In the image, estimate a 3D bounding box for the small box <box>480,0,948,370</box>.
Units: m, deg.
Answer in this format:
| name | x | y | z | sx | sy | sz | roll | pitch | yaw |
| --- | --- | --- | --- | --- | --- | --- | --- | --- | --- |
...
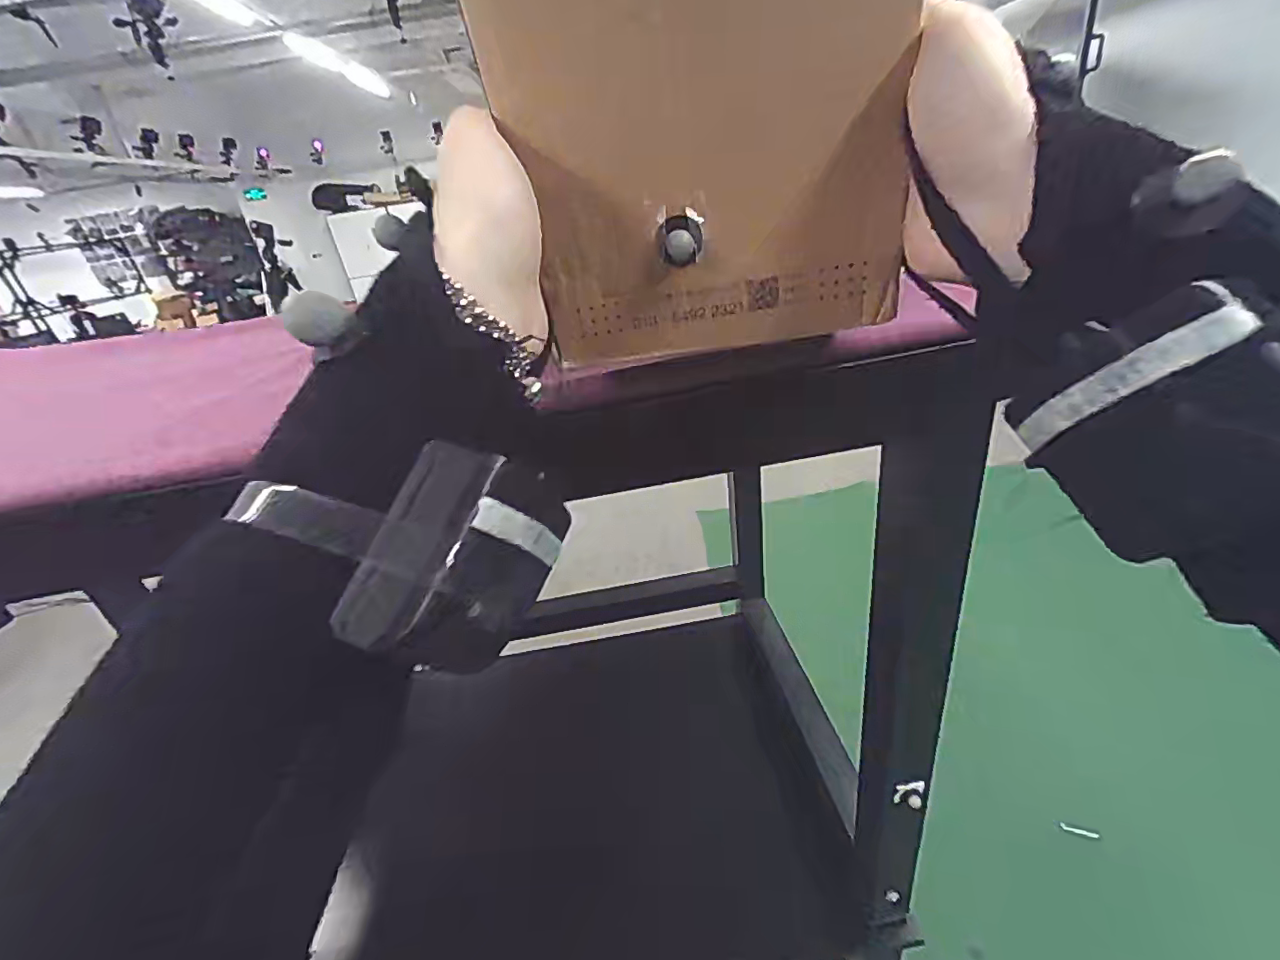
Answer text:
| name | x | y | z | sx | sy | sz | roll | pitch | yaw |
| --- | --- | --- | --- | --- | --- | --- | --- | --- | --- |
| small box | 0.035 | -0.175 | 0.283 | 0.168 | 0.176 | 0.179 | -7 | 37 | 8 |
